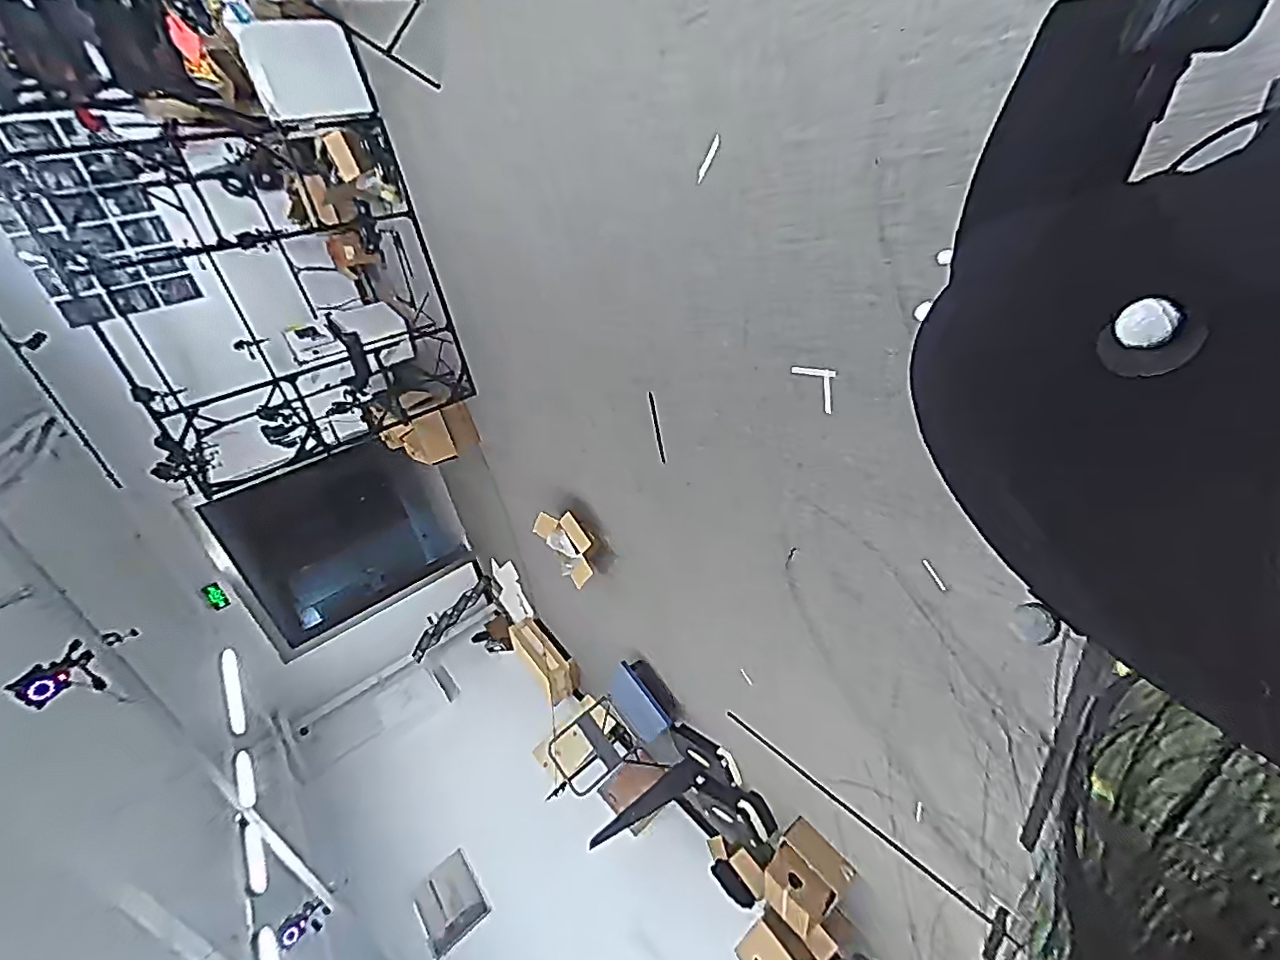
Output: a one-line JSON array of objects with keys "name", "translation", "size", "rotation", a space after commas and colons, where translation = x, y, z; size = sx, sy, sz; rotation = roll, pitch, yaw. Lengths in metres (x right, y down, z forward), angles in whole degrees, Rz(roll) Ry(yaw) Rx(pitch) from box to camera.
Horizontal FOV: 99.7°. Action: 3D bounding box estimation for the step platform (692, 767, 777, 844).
[{"name": "step platform", "translation": [0.662, 2.346, 3.917], "size": [0.684, 0.204, 0.286], "rotation": [-22, 97, 60]}]
